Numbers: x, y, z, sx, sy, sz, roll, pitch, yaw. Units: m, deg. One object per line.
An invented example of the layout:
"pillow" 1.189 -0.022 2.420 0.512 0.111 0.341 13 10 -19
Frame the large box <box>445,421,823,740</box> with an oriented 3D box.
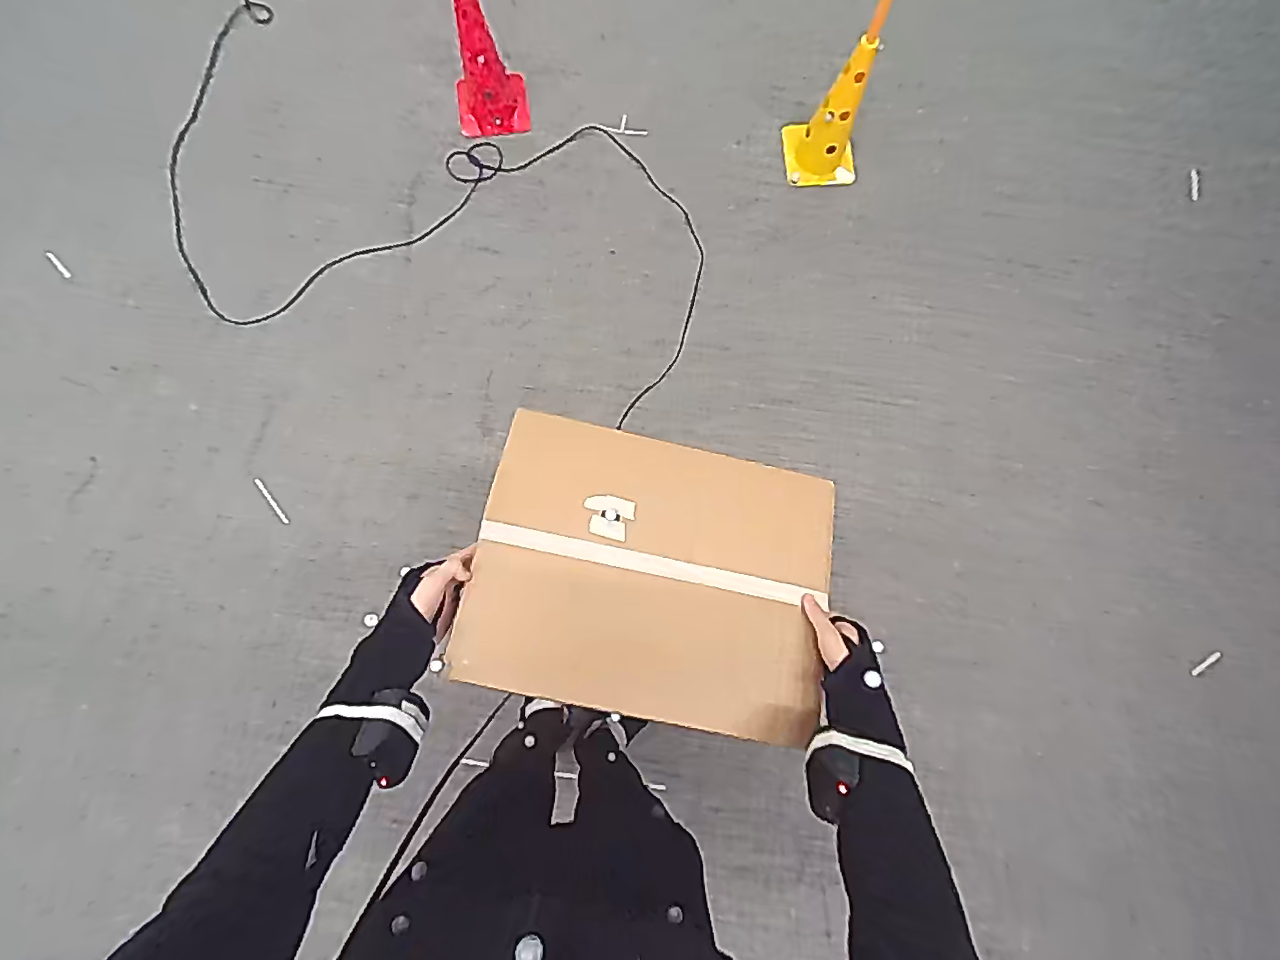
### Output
"large box" 0.000 0.151 0.766 0.408 0.320 0.320 12 69 -2
